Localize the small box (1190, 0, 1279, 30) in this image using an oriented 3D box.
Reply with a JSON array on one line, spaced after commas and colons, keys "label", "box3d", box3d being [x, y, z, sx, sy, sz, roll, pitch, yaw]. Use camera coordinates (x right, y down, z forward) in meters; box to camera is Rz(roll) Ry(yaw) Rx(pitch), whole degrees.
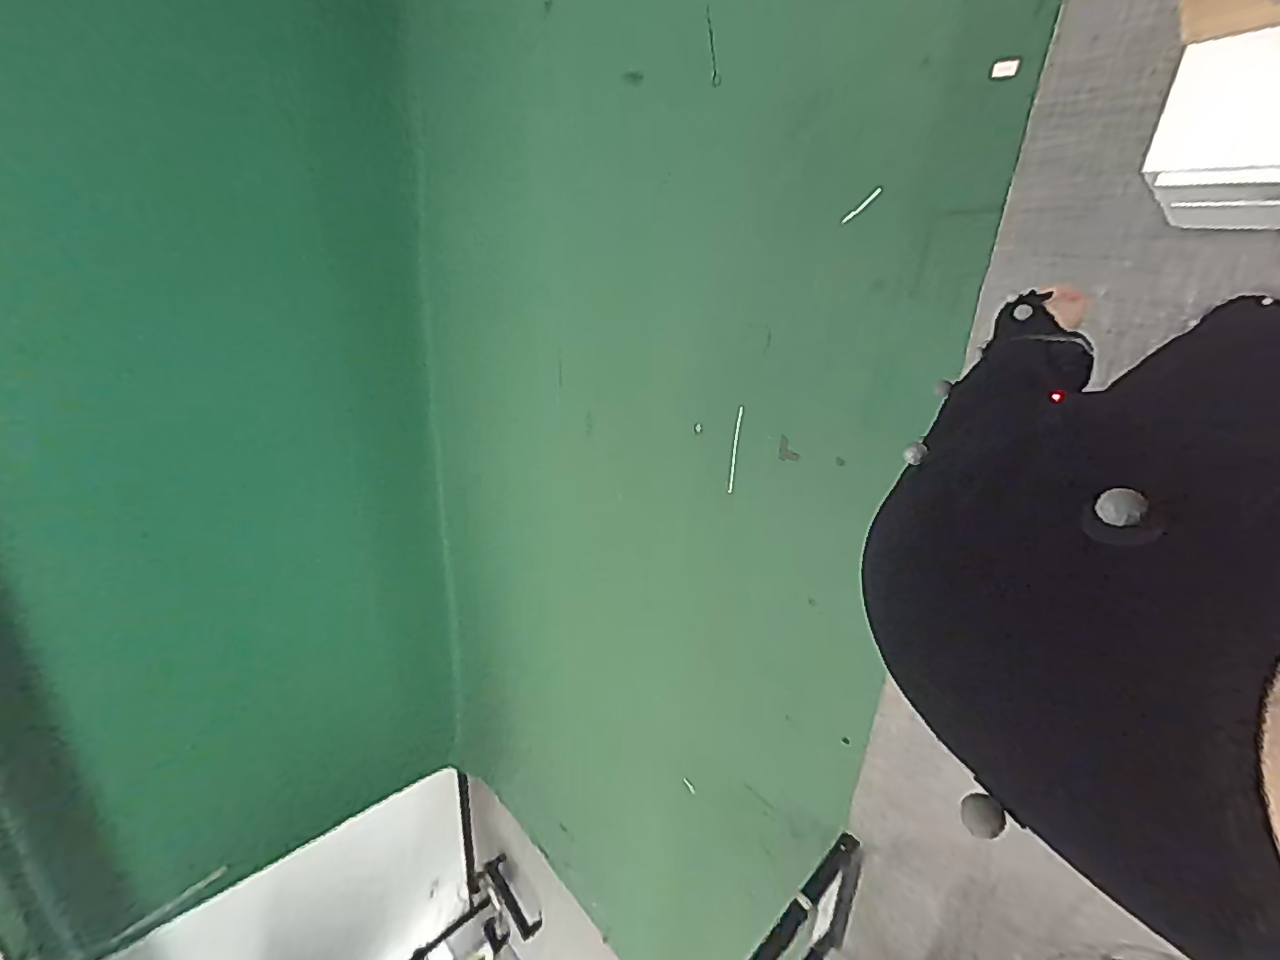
[{"label": "small box", "box3d": [0.616, -0.532, 0.465, 0.179, 0.176, 0.168, 18, 115, 42]}]
